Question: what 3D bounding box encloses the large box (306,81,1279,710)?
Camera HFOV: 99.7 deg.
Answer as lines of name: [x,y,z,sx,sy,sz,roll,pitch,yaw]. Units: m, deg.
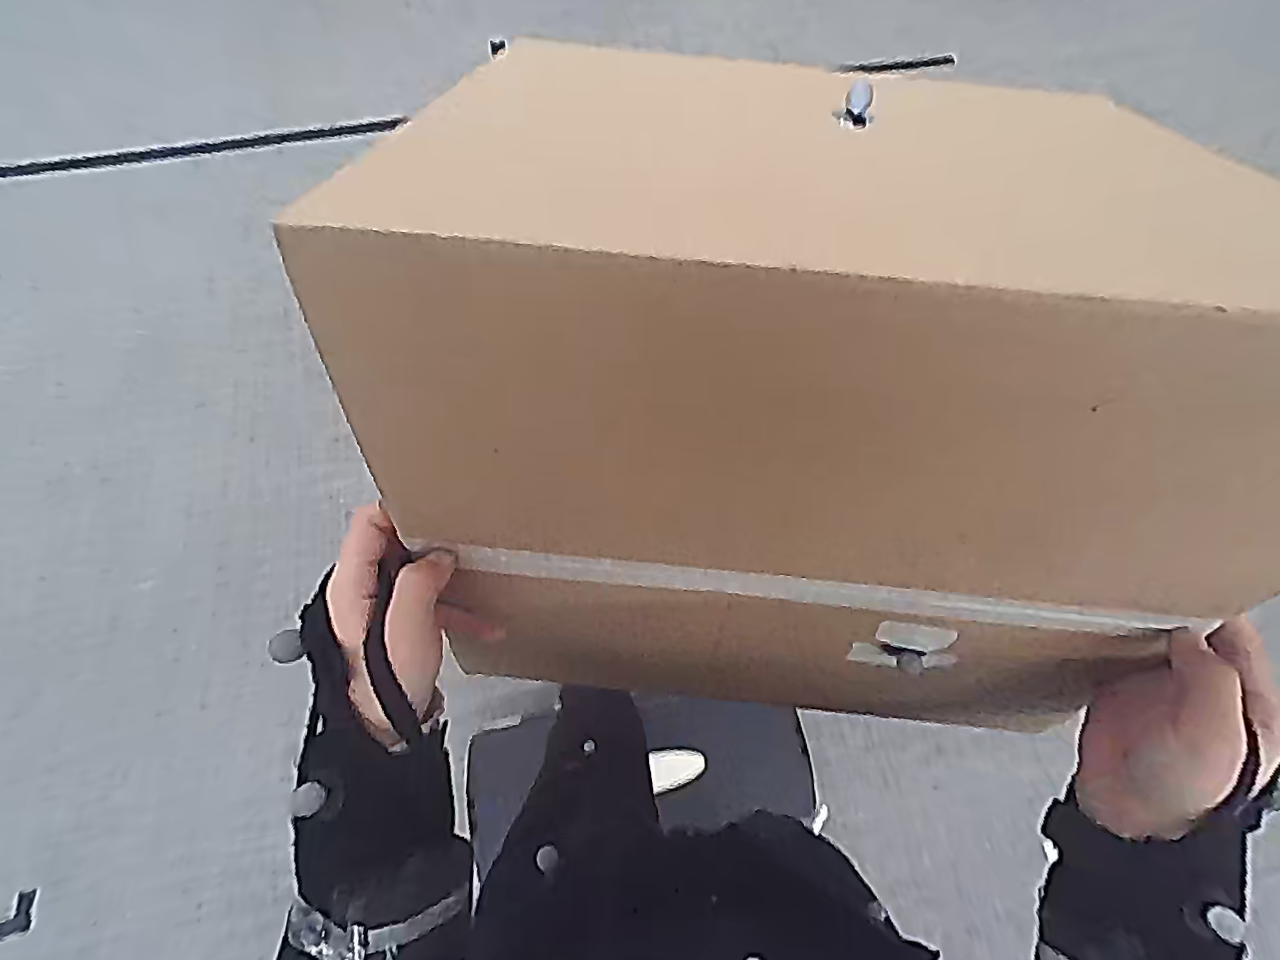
large box: [0.085,-0.062,0.385,0.408,0.320,0.320,5,47,0]
